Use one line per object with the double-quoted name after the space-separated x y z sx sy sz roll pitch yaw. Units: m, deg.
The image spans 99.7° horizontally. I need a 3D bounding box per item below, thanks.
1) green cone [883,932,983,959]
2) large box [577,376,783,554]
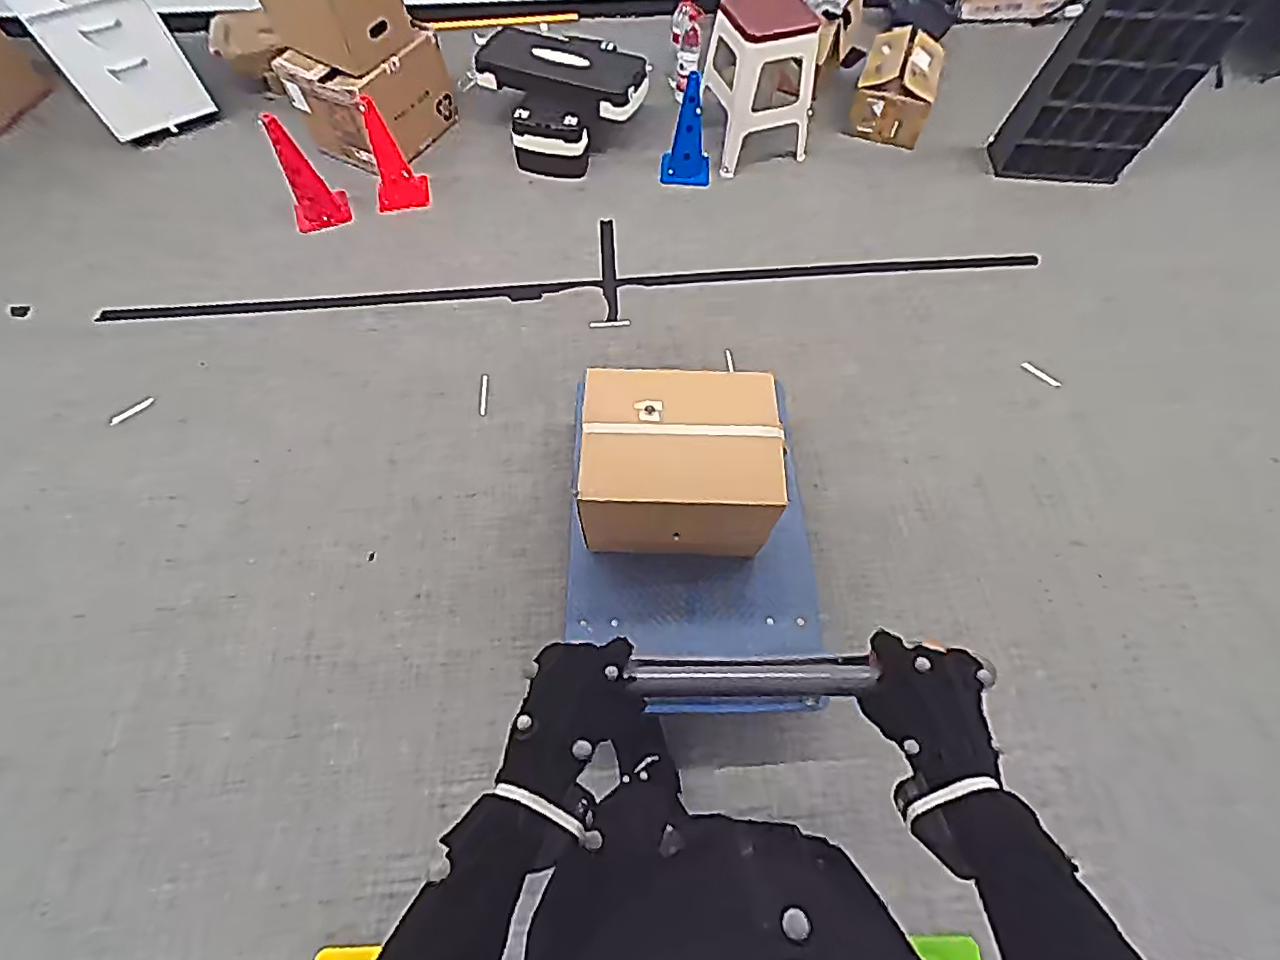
0.593 0.934 0.903 0.202 0.368 0.200 0 63 -1 "green cone"
0.081 -0.021 1.233 0.408 0.320 0.320 1 64 1 "large box"
